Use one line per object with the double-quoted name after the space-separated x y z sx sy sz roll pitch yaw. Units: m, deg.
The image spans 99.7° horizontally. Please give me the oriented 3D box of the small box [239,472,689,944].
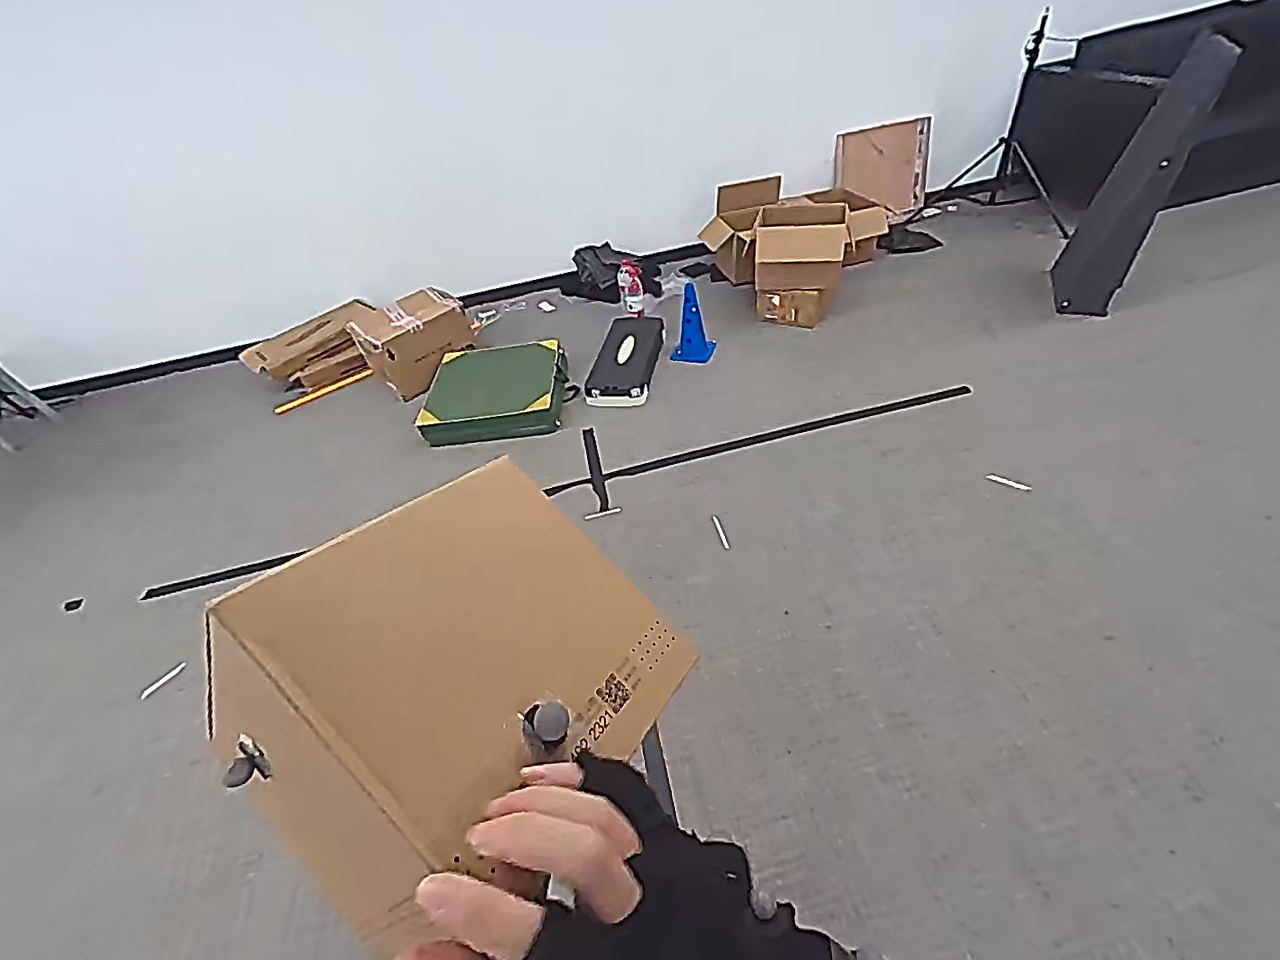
-0.104 0.133 0.328 0.176 0.179 0.168 44 39 7 "small box"
